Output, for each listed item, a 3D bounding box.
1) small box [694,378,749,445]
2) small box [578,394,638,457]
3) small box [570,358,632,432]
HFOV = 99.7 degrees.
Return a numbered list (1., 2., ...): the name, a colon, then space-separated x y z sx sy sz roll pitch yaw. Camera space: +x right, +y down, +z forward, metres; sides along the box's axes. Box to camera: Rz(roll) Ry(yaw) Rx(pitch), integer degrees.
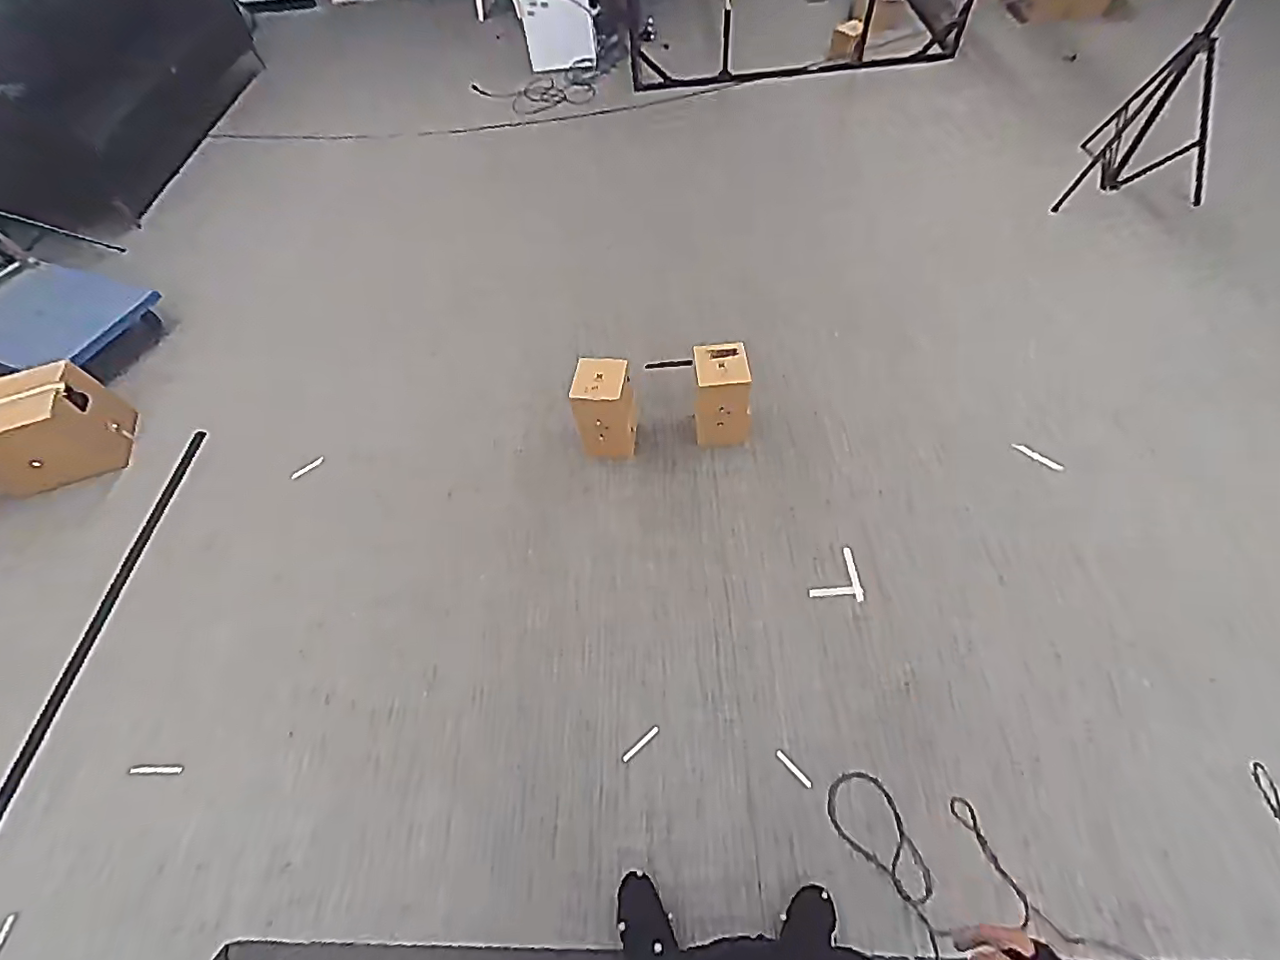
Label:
1. small box: 0.286 -0.239 1.924 0.179 0.176 0.168 -4 58 2
2. small box: -0.108 -0.196 1.940 0.179 0.176 0.168 3 58 9
3. small box: -0.122 -0.282 1.800 0.168 0.176 0.179 4 59 10
